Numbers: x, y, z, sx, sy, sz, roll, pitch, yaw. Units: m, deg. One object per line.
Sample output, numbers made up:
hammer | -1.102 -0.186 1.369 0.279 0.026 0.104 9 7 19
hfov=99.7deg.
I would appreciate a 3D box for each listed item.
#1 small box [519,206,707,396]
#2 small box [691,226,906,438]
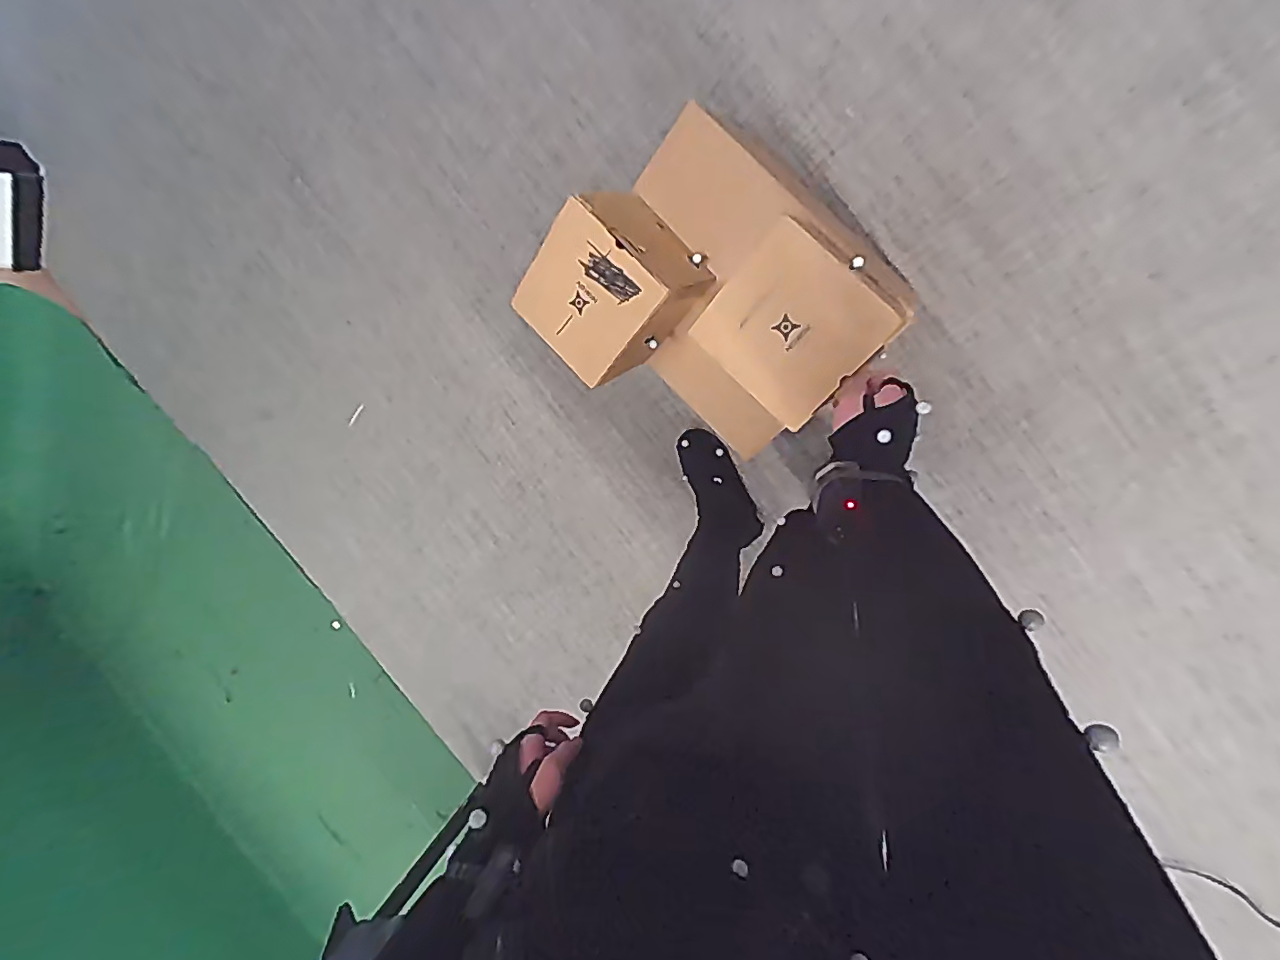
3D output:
small box | -0.028 -0.251 0.751 0.168 0.176 0.179 47 127 2
small box | 0.199 -0.184 0.665 0.179 0.176 0.168 44 120 5
